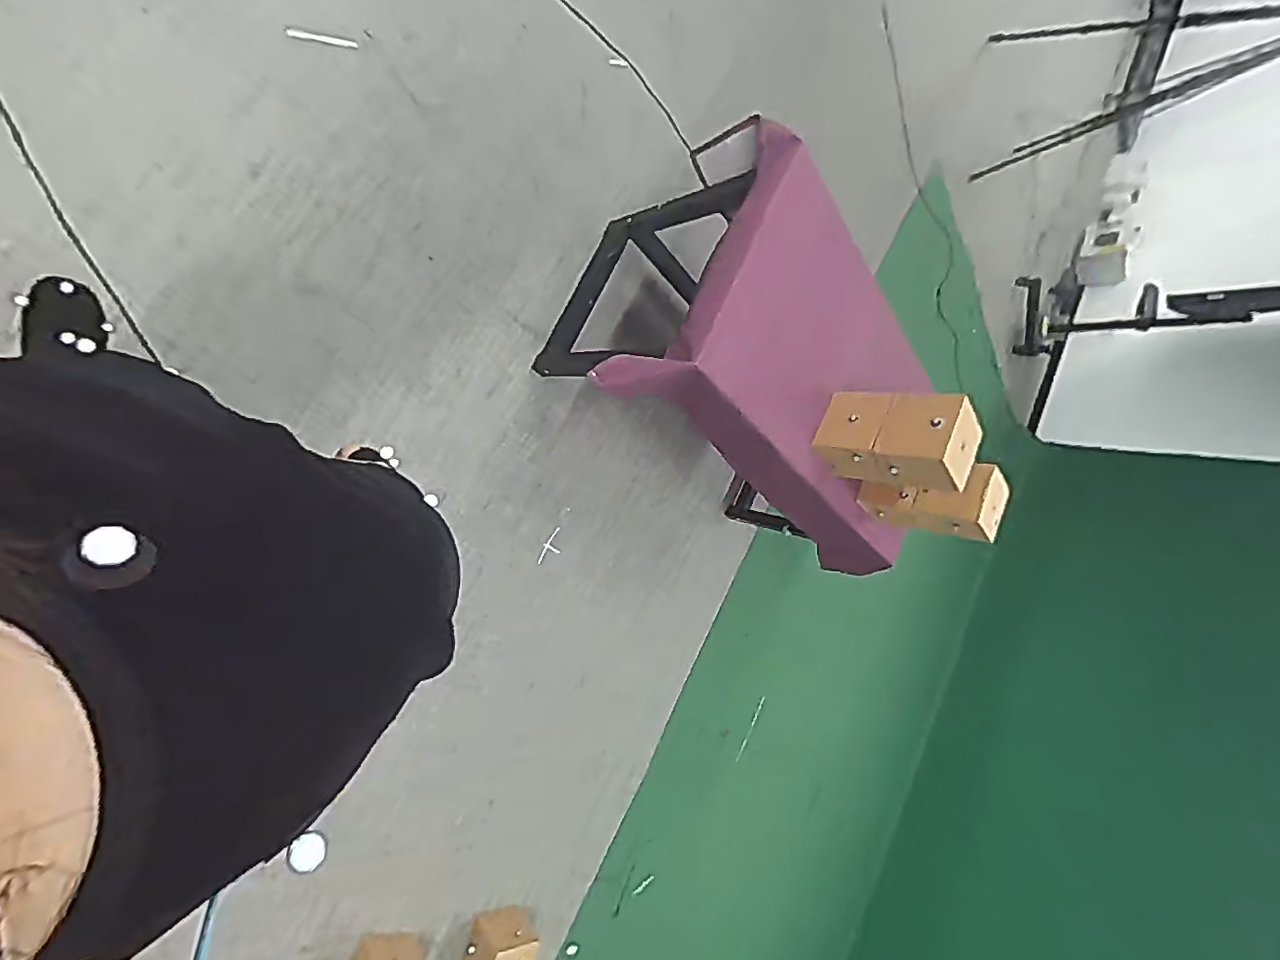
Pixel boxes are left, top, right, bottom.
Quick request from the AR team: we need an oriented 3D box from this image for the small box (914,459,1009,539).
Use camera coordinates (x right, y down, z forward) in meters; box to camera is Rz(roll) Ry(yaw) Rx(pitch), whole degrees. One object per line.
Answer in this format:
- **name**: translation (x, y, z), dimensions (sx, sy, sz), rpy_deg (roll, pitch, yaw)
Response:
- **small box**: translation (0.897, 0.046, 1.514), dimensions (0.179, 0.176, 0.168), rpy_deg (32, 78, -39)

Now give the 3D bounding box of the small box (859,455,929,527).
- **small box**: translation (0.791, 0.020, 1.637), dimensions (0.168, 0.176, 0.179), rpy_deg (32, 77, -40)

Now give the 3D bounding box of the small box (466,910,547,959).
- **small box**: translation (-0.450, 1.590, 1.810), dimensions (0.179, 0.176, 0.168), rpy_deg (24, 82, -40)

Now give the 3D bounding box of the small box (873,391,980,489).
- **small box**: translation (0.691, -0.100, 1.307), dimensions (0.168, 0.176, 0.179), rpy_deg (38, 72, -38)

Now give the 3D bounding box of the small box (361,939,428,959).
- **small box**: translation (-0.724, 1.464, 1.550), dimensions (0.179, 0.176, 0.168), rpy_deg (40, 73, -38)
